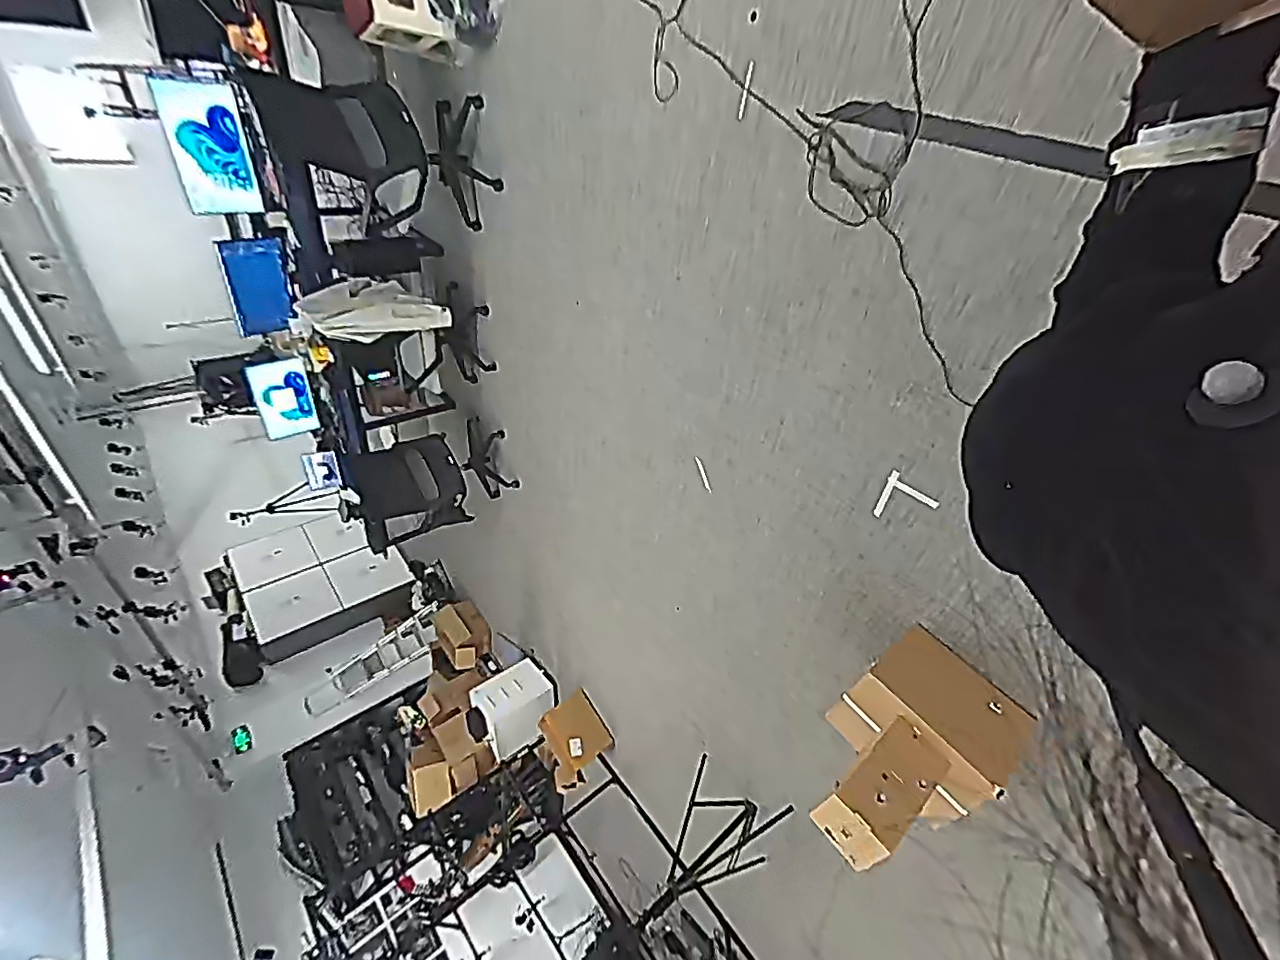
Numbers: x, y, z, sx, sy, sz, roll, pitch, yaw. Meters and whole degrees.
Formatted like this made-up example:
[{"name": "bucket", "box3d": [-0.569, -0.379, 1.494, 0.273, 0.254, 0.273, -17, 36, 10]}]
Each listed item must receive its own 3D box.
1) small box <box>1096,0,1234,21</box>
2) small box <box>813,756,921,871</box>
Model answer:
[{"name": "small box", "box3d": [0.274, -0.313, 0.195, 0.168, 0.176, 0.179, -2, 107, 50]}, {"name": "small box", "box3d": [0.590, 0.854, 1.397, 0.168, 0.176, 0.179, 44, 138, 29]}]
